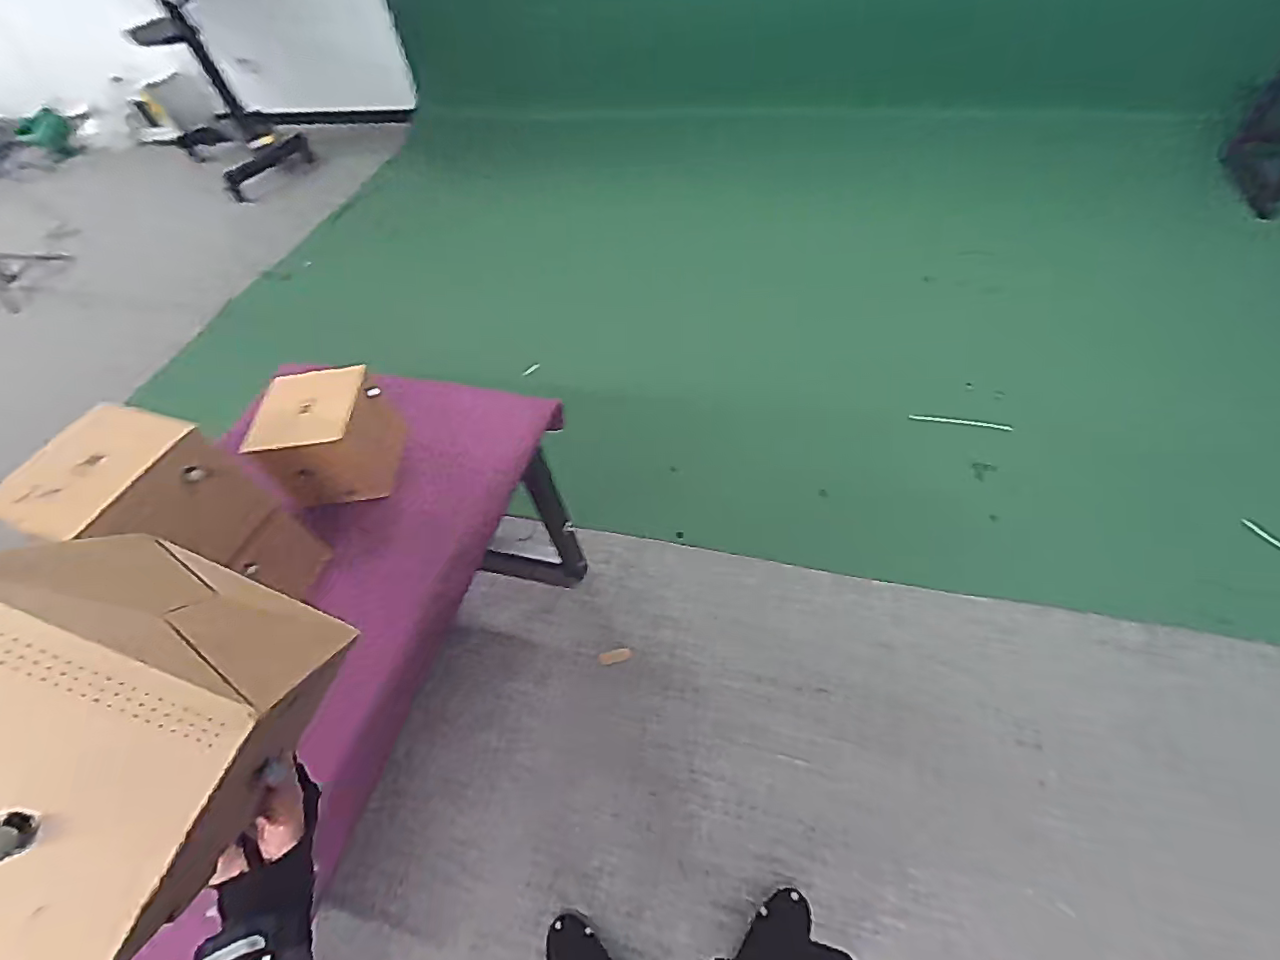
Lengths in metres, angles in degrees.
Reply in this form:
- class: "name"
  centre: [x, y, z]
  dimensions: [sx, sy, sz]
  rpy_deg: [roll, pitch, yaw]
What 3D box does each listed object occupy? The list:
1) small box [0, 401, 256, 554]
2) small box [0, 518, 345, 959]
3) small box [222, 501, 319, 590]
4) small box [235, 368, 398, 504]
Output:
- class: "small box"
  centre: [-0.640, 0.032, 0.686]
  dimensions: [0.168, 0.176, 0.179]
  rpy_deg: [13, 56, 15]
- class: "small box"
  centre: [-0.315, 0.140, 0.332]
  dimensions: [0.179, 0.168, 0.176]
  rpy_deg: [29, 84, -9]
- class: "small box"
  centre: [-0.635, 0.132, 0.817]
  dimensions: [0.168, 0.176, 0.179]
  rpy_deg: [13, 56, 15]
- class: "small box"
  centre: [-0.555, -0.069, 0.958]
  dimensions: [0.168, 0.176, 0.179]
  rpy_deg: [-7, 53, 1]
